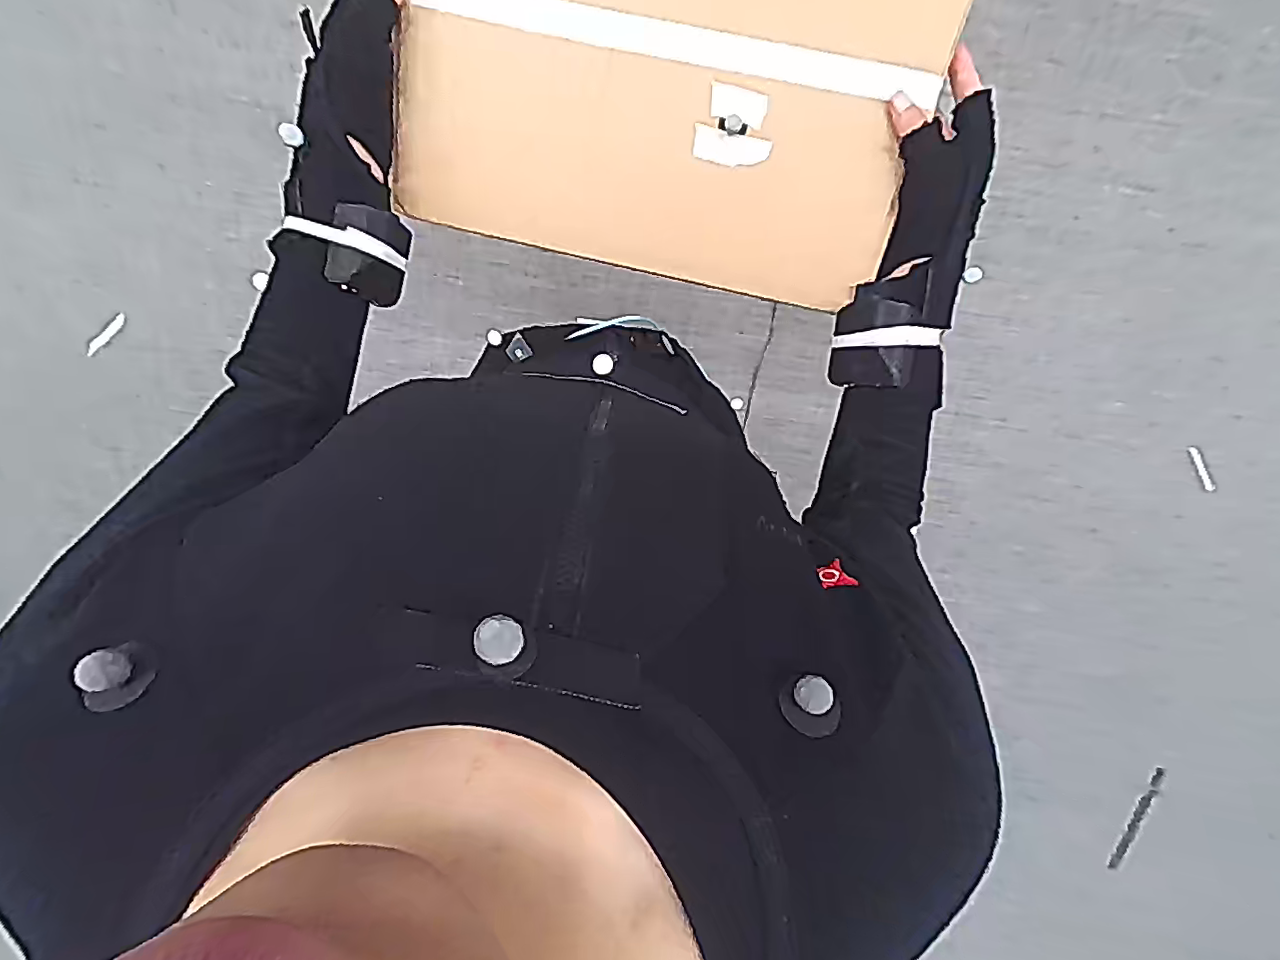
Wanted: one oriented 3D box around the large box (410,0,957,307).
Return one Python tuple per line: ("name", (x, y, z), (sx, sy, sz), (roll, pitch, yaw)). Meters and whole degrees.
("large box", (0.035, -0.380, 0.549), (0.408, 0.320, 0.320), (14, 113, 2))
